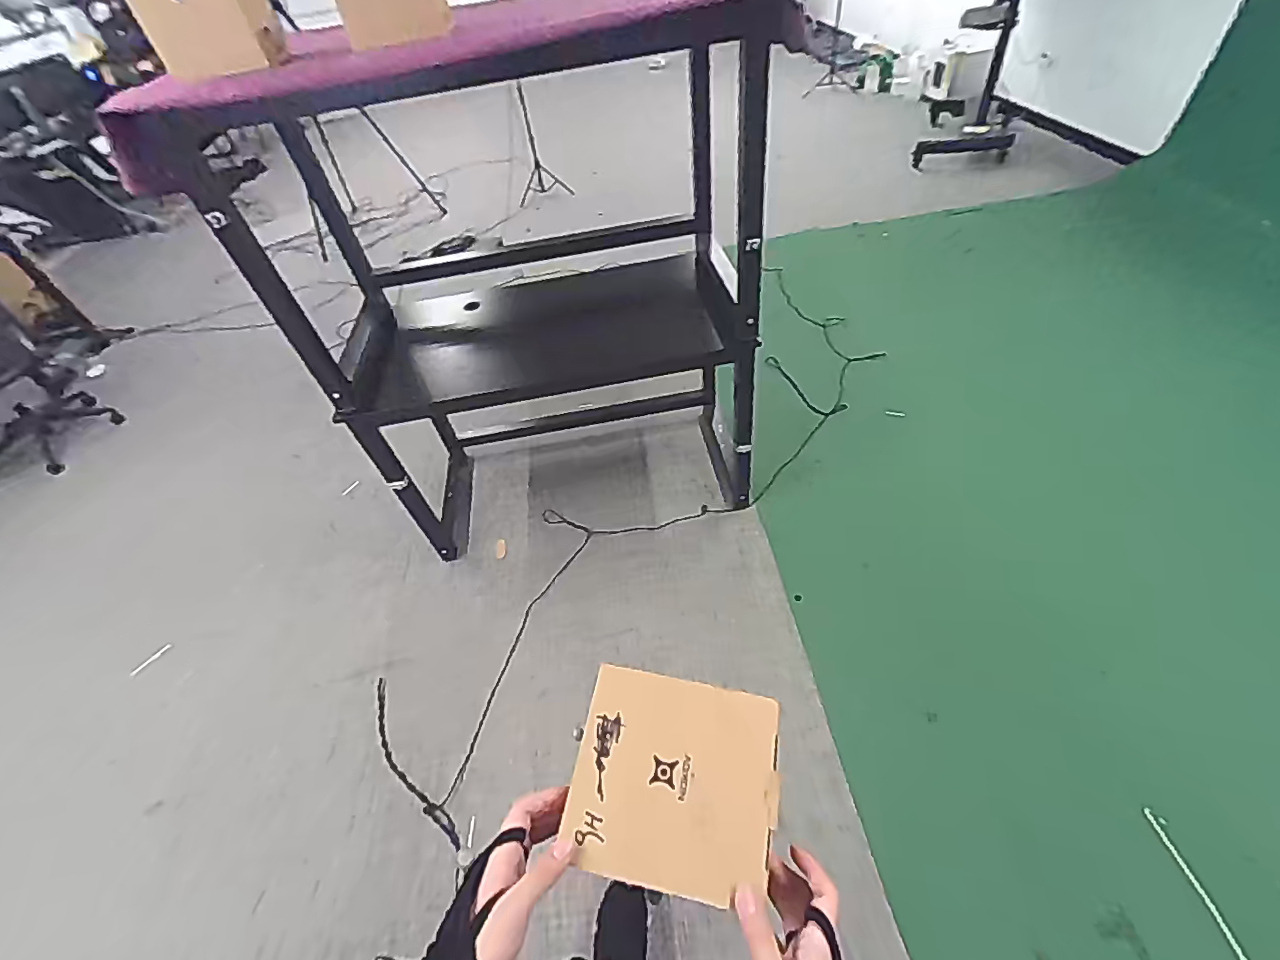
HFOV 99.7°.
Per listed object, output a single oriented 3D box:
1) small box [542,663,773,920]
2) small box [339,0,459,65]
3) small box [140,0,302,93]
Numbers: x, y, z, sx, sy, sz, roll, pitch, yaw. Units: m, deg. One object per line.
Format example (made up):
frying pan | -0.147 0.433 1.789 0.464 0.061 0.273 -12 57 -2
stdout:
small box | 0.023 0.303 0.535 0.179 0.176 0.168 10 55 8
small box | -0.461 -0.918 1.029 0.179 0.176 0.168 -10 45 0
small box | -0.786 -0.852 1.019 0.179 0.176 0.168 -11 46 -3
